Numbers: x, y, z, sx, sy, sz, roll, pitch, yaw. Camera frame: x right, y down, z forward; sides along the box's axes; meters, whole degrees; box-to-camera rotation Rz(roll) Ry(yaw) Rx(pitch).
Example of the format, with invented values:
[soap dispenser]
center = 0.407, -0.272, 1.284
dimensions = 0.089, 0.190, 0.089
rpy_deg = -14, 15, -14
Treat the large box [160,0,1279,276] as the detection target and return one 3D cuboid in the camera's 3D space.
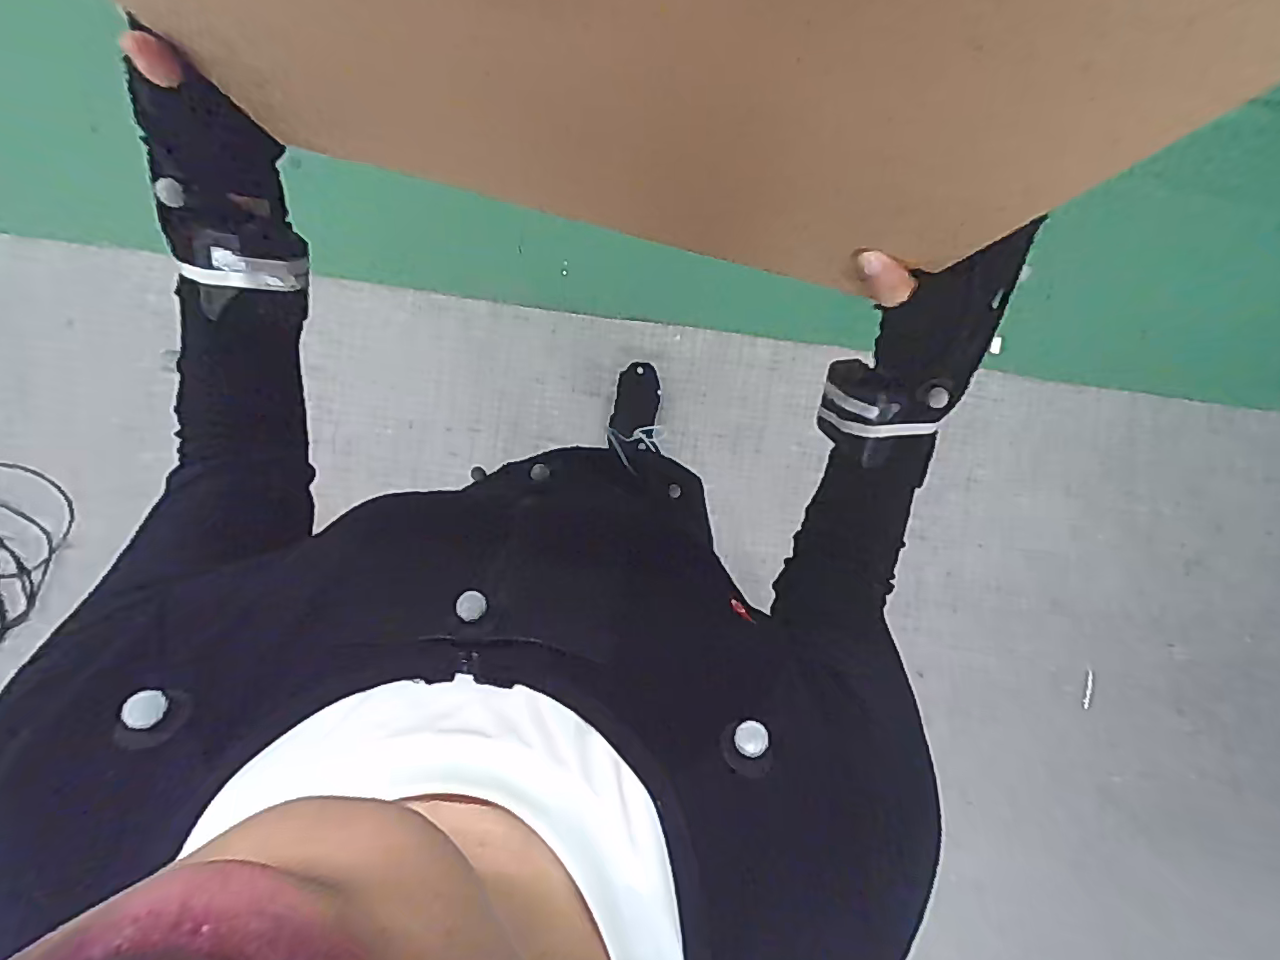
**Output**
[large box]
center = 0.015, -0.309, 0.187
dimensions = 0.408, 0.320, 0.320
rpy_deg = 13, 94, -4
